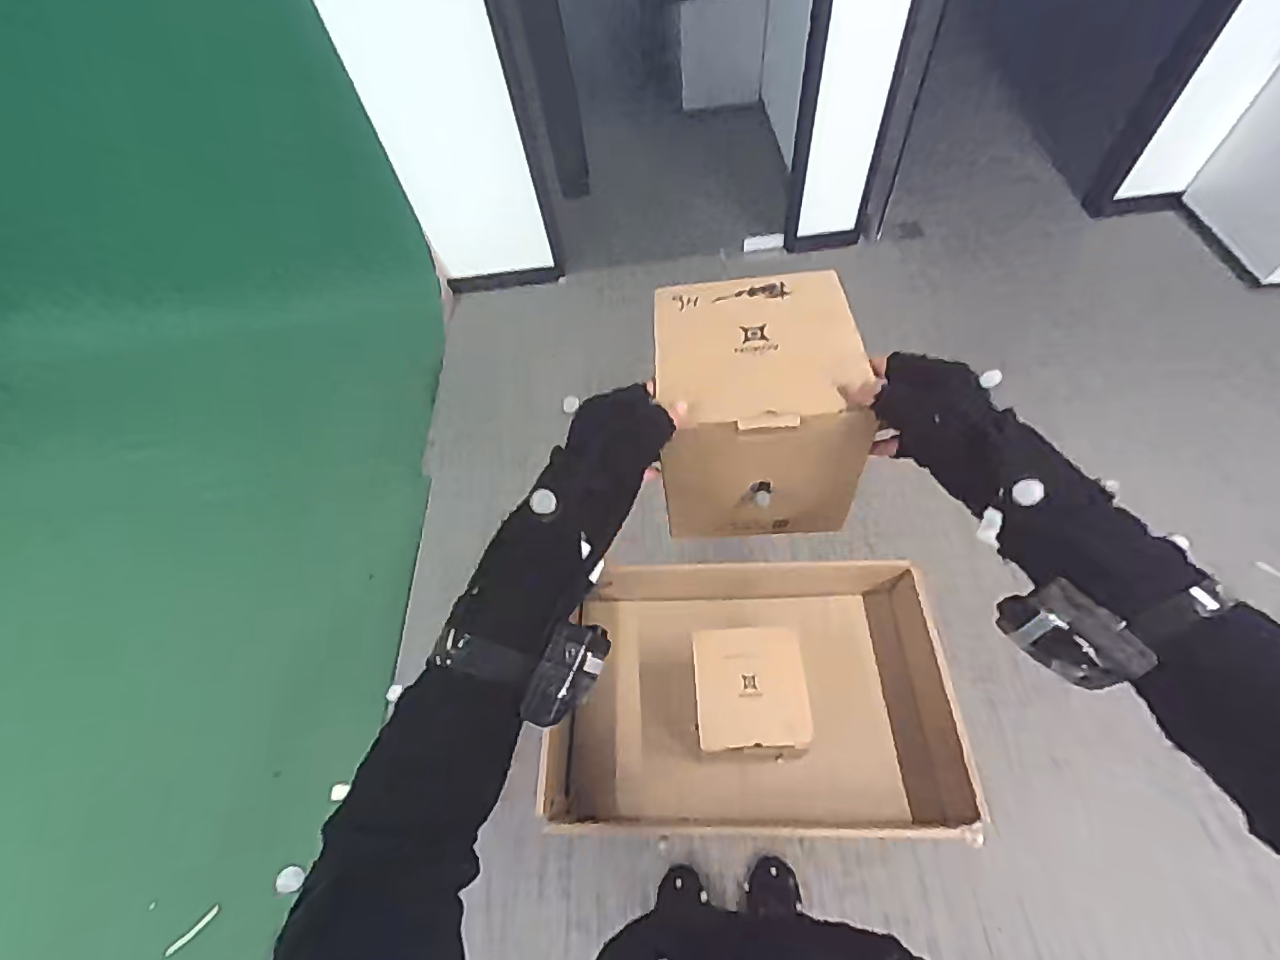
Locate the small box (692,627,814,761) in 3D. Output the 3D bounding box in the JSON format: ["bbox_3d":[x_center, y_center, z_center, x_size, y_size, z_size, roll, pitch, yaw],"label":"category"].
[{"bbox_3d":[0.174,0.355,0.882,0.168,0.176,0.179,-4,56,3],"label":"small box"}]

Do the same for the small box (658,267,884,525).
[{"bbox_3d":[0.106,-0.067,0.504,0.168,0.176,0.179,-3,54,6],"label":"small box"}]
